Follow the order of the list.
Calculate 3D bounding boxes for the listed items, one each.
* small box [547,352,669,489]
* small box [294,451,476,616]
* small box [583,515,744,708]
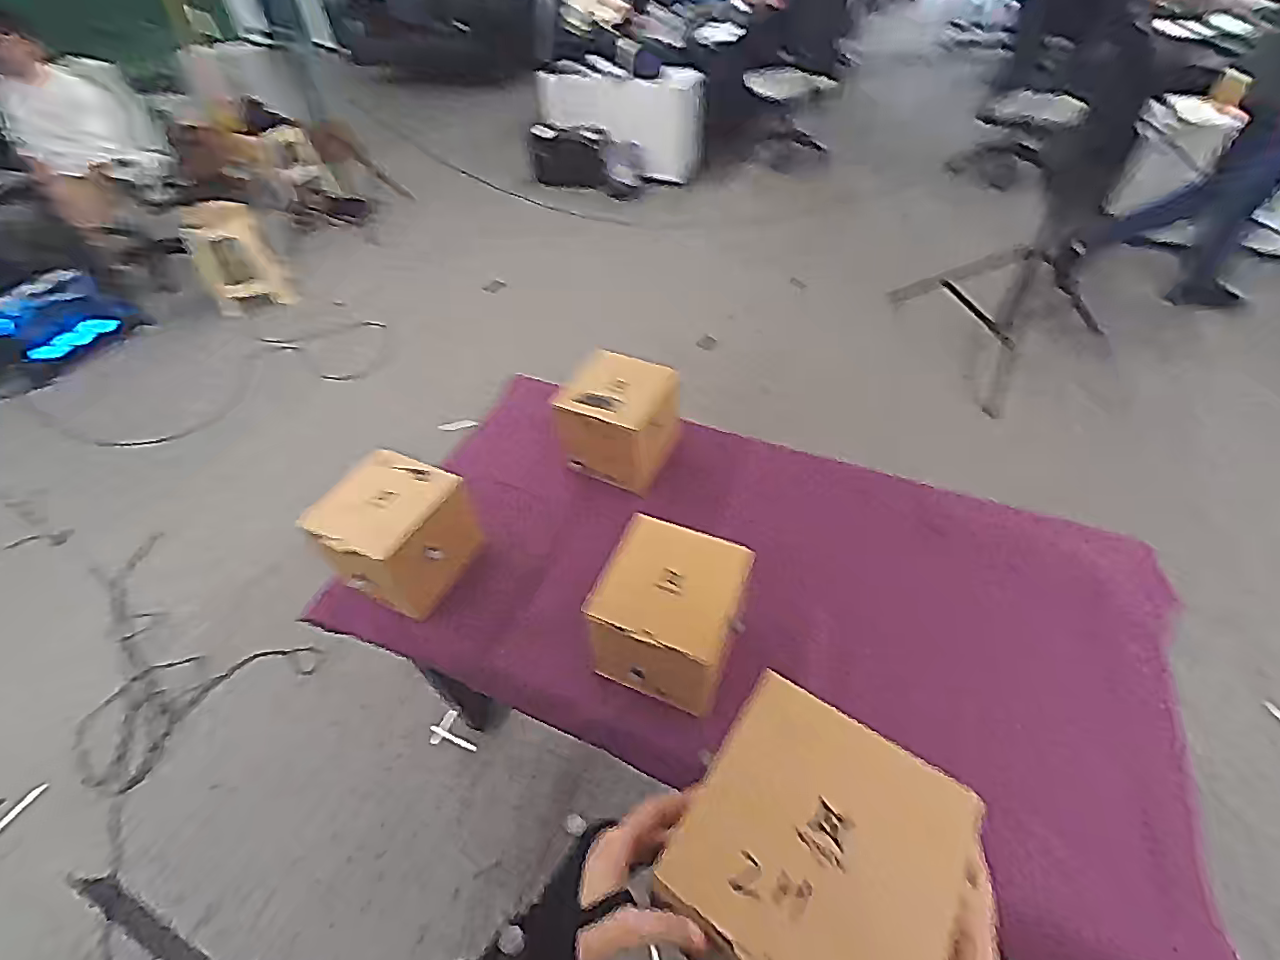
[{"bbox_3d":[-0.049,-0.110,1.021,0.168,0.176,0.179,19,53,18],"label":"small box"},{"bbox_3d":[-0.390,0.088,0.864,0.168,0.176,0.179,18,52,18],"label":"small box"},{"bbox_3d":[0.036,0.184,0.759,0.168,0.176,0.179,16,50,16],"label":"small box"}]
